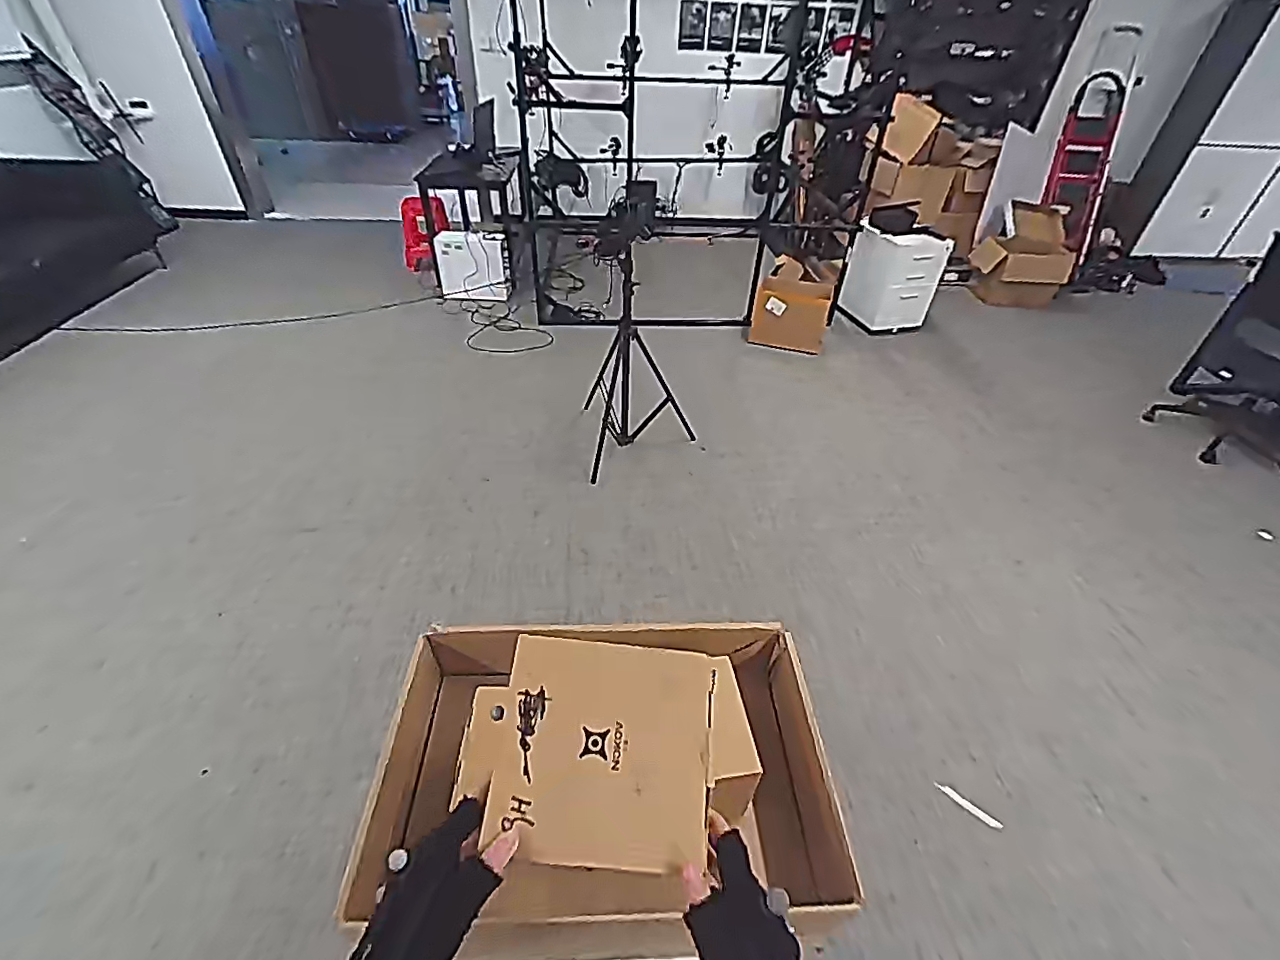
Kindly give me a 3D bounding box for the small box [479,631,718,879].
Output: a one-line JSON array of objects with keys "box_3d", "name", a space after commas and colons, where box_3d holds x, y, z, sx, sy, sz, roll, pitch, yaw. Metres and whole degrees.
[{"box_3d": [-0.034, 0.253, 0.508, 0.179, 0.176, 0.168, 8, 60, -3], "name": "small box"}]
